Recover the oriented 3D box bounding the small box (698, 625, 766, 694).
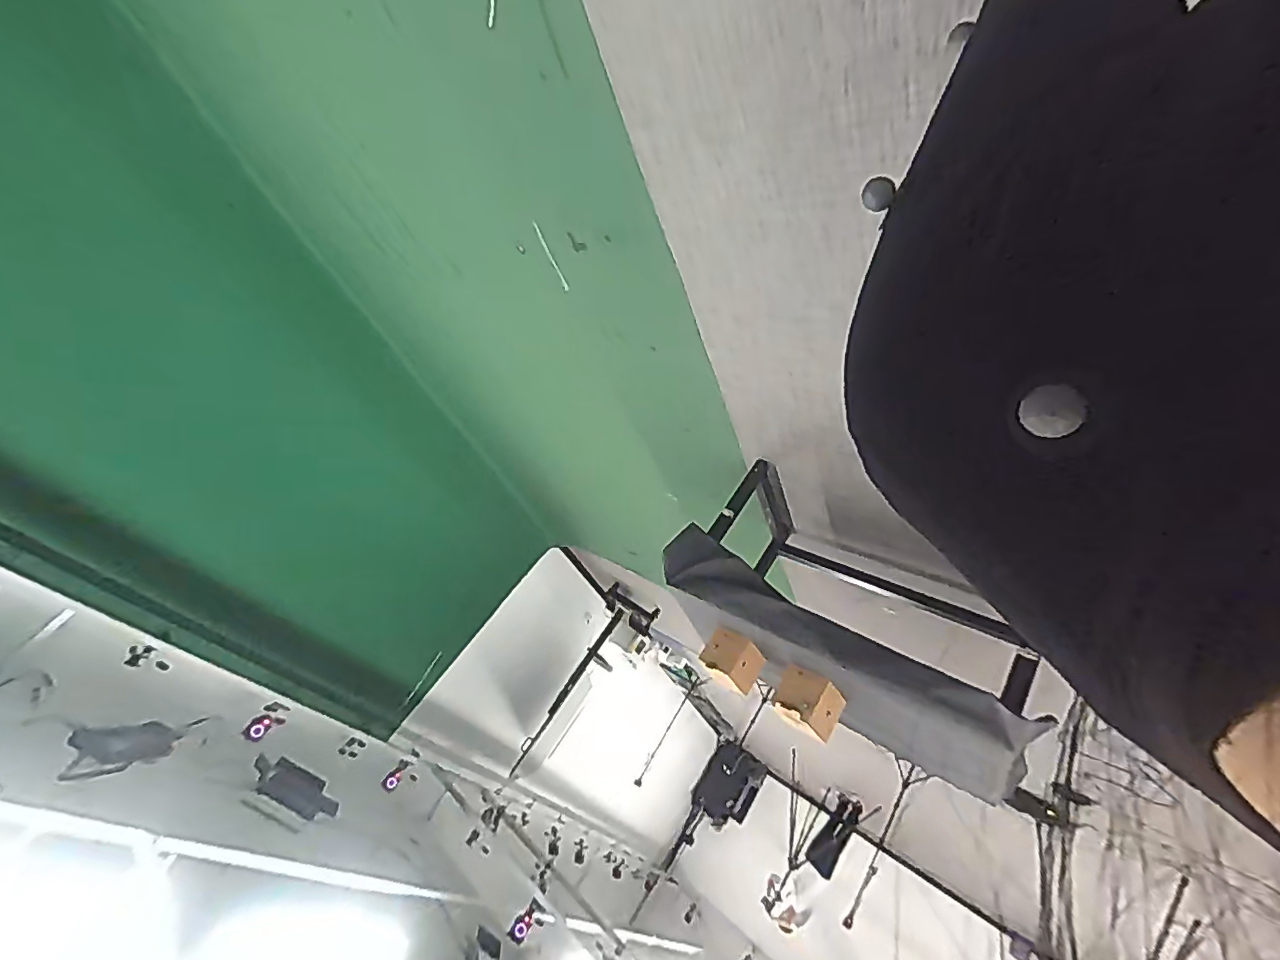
[{"bbox_3d":[0.367,0.703,2.135,0.168,0.176,0.179,12,147,49],"label":"small box"}]
